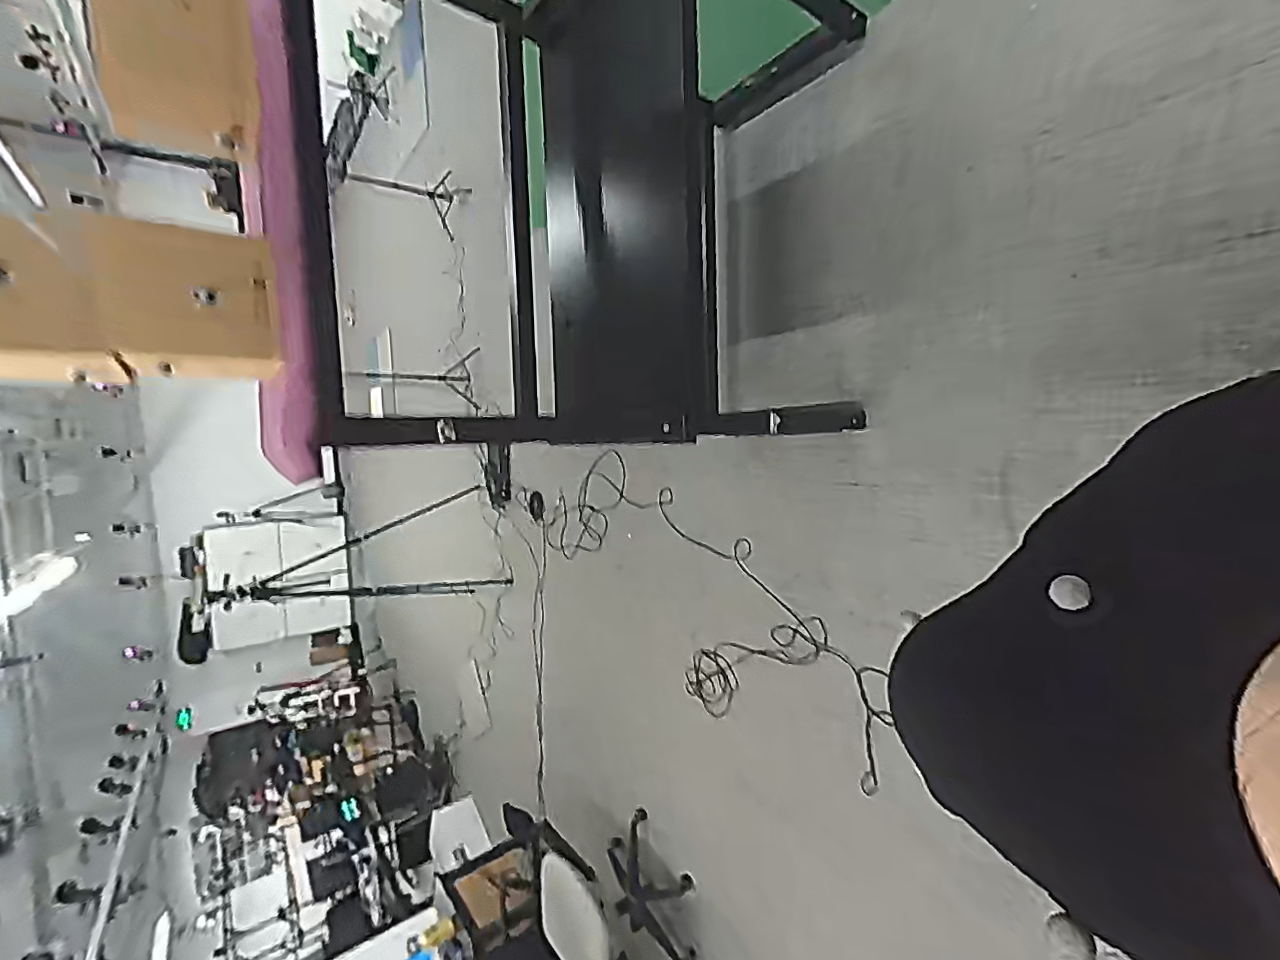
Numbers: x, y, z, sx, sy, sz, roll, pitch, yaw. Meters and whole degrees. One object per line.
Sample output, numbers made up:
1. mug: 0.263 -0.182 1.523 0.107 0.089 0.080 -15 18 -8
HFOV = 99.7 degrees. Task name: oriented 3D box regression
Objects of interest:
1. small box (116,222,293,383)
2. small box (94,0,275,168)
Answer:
1. small box: -0.586 -0.227 0.745 0.179 0.176 0.168 0 94 53
2. small box: -0.619 -0.569 0.745 0.168 0.176 0.179 1 97 53
